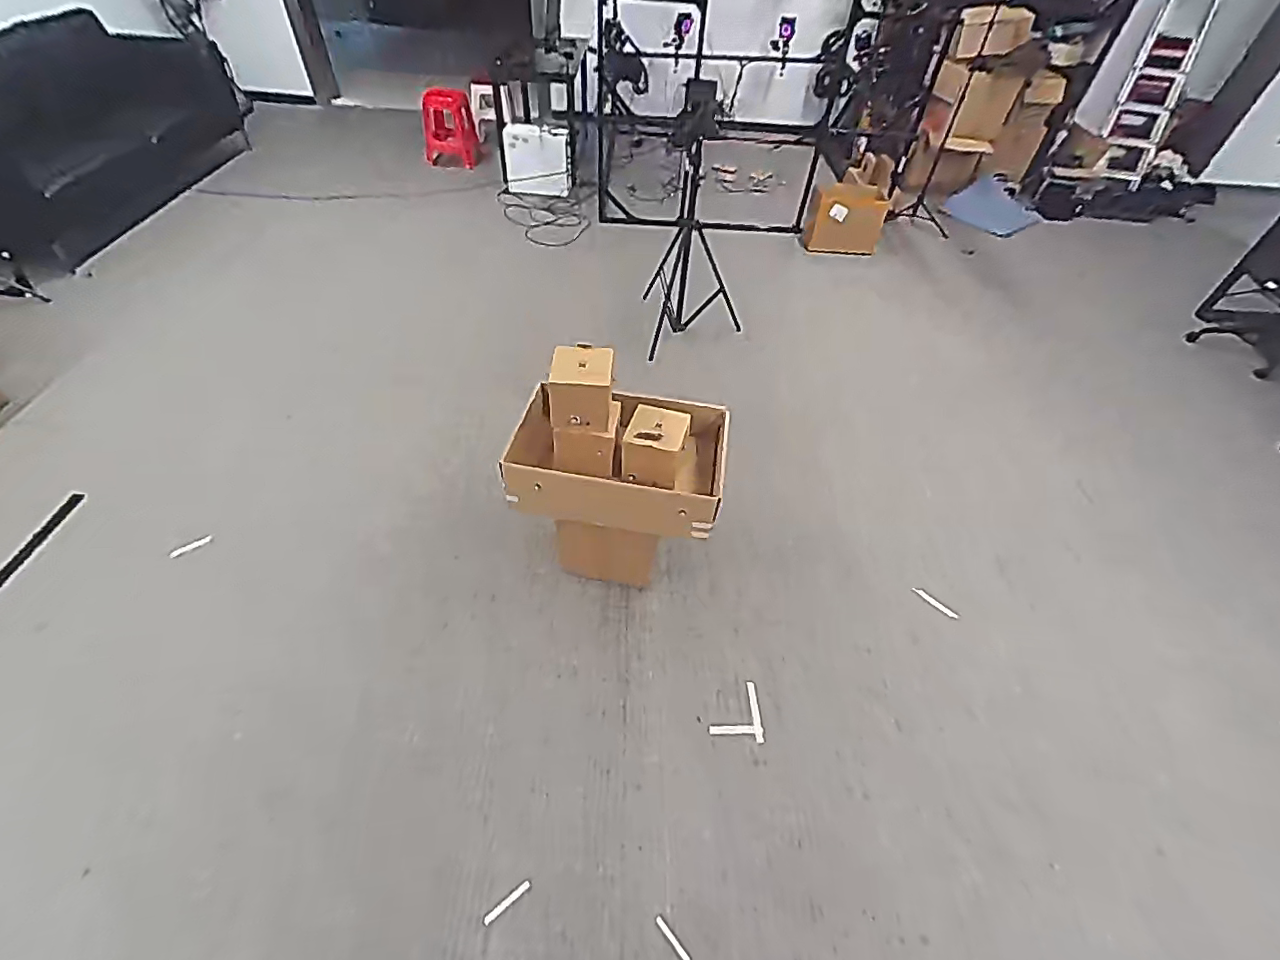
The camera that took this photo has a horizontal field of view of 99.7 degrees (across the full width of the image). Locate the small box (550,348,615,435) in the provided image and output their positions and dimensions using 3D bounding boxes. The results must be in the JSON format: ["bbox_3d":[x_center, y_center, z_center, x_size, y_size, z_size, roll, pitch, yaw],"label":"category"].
[{"bbox_3d":[-0.160,-0.252,1.534,0.168,0.176,0.179,3,47,-2],"label":"small box"}]
